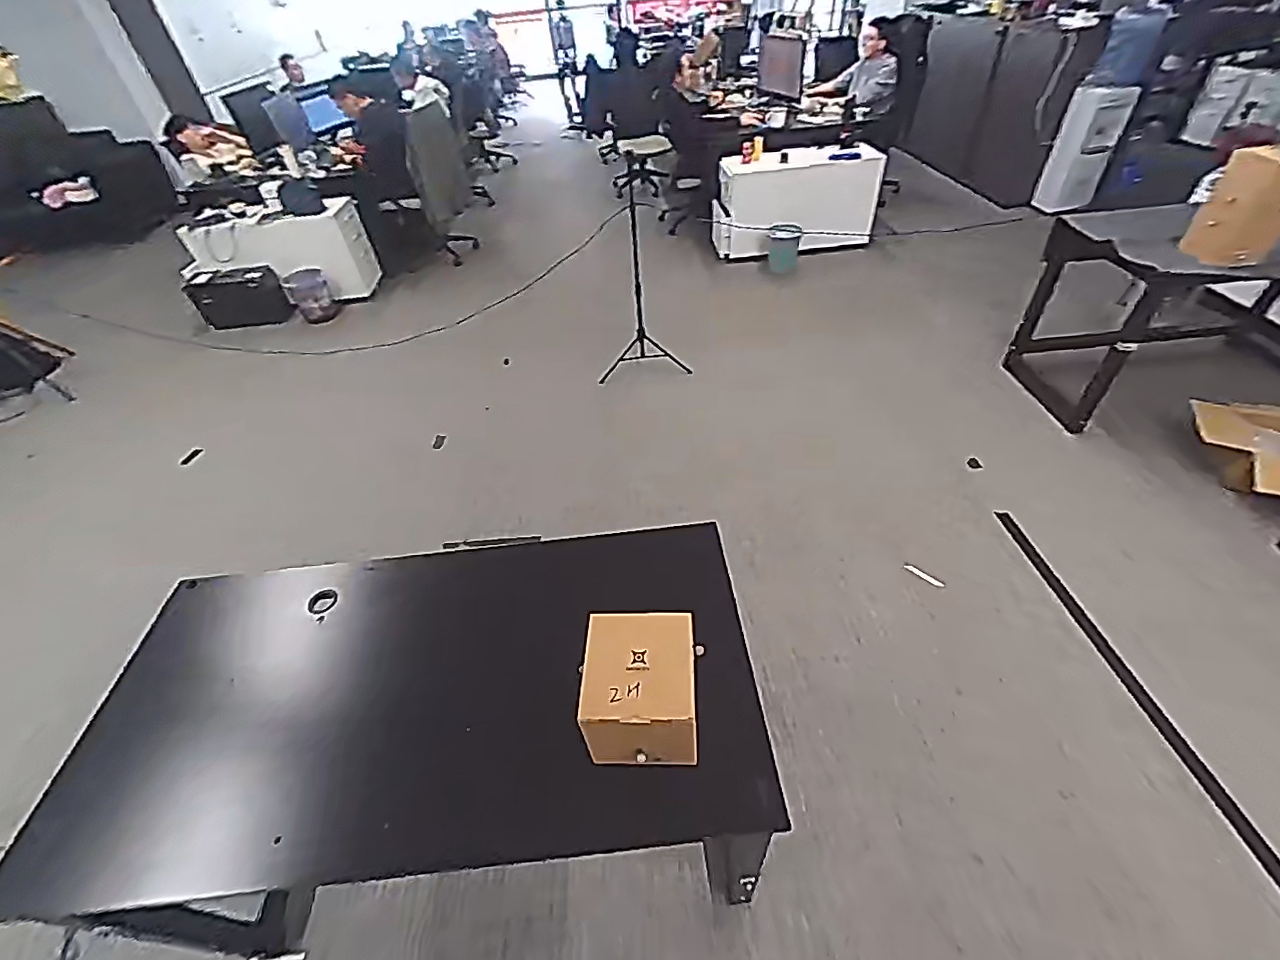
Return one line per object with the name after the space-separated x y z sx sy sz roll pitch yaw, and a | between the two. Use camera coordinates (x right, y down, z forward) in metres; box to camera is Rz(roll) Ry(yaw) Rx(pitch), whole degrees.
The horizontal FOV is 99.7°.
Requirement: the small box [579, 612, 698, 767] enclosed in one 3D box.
0.007 0.331 0.859 0.168 0.176 0.179 -2 44 6 | small box
